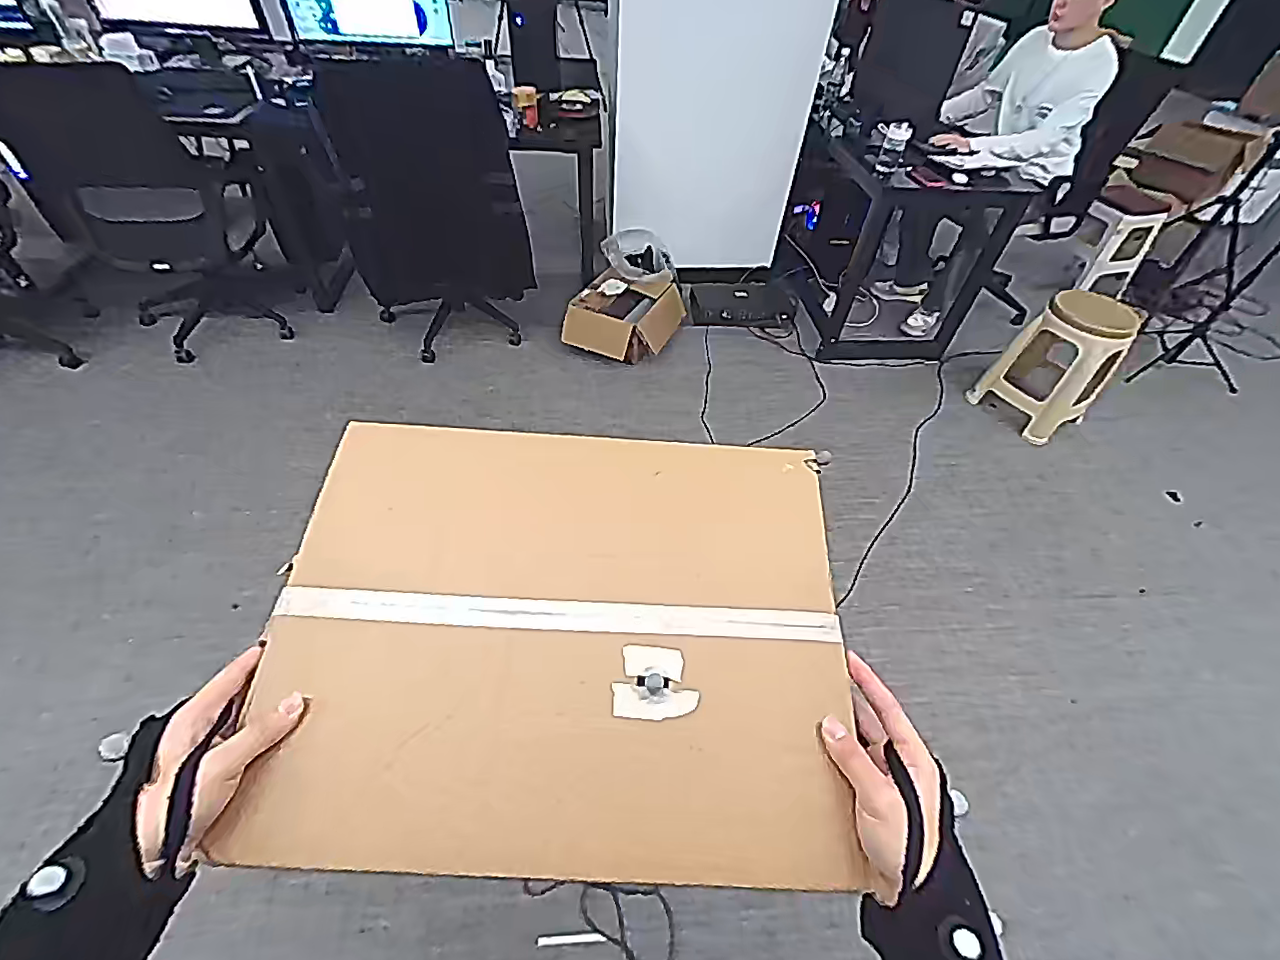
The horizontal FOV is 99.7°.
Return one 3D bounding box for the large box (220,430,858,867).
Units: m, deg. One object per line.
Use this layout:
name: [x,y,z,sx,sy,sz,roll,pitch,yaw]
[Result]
large box: [-0.064,0.172,0.535,0.408,0.320,0.320,4,61,-2]
